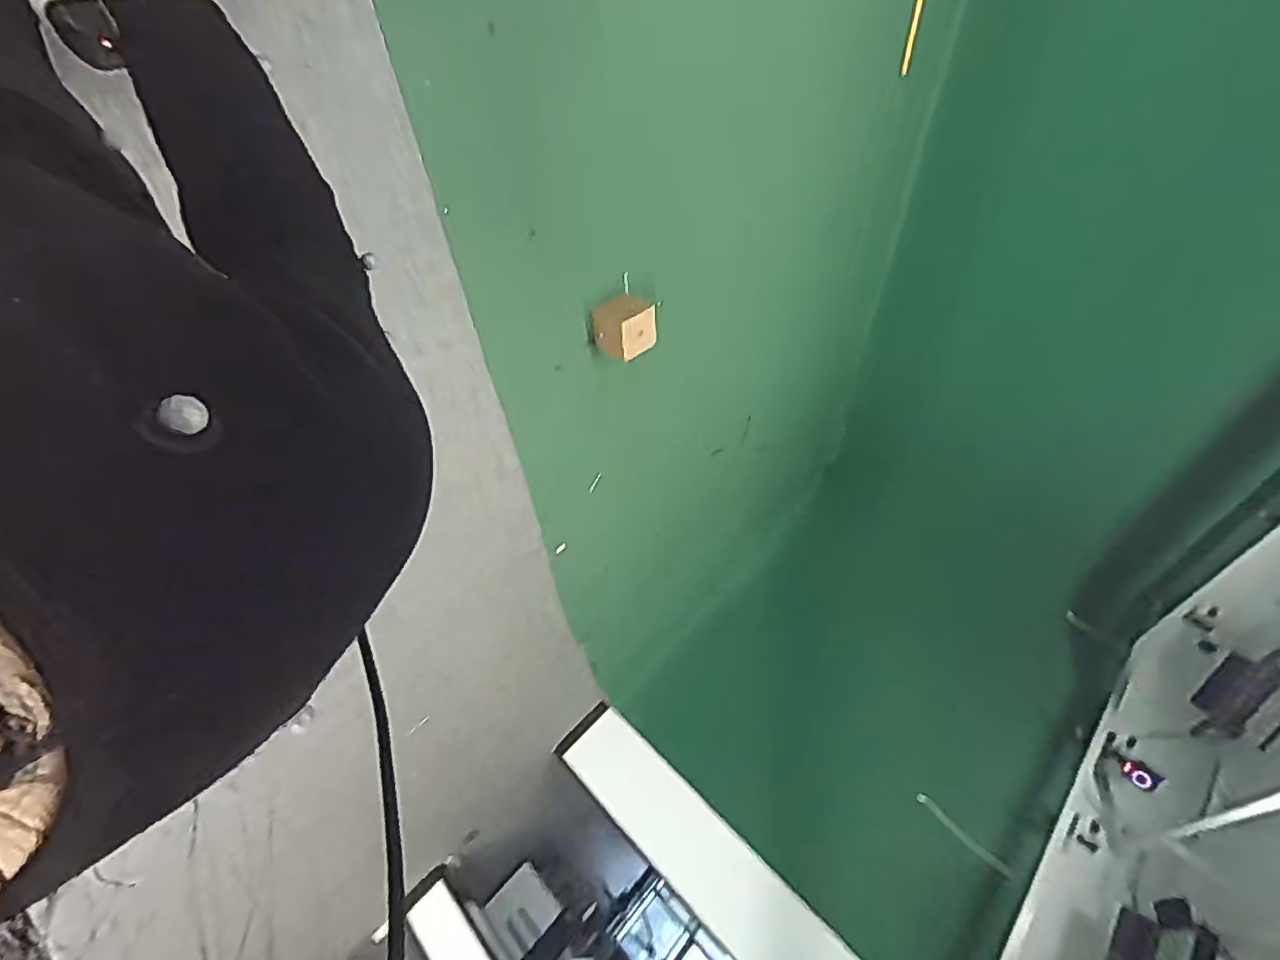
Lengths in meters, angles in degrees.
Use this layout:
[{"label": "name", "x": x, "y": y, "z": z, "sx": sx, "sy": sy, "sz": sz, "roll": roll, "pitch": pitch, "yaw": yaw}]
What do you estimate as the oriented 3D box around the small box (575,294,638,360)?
[{"label": "small box", "x": -0.126, "y": -0.595, "z": 2.085, "sx": 0.179, "sy": 0.176, "sz": 0.168, "roll": -38, "pitch": 145, "yaw": -30}]
